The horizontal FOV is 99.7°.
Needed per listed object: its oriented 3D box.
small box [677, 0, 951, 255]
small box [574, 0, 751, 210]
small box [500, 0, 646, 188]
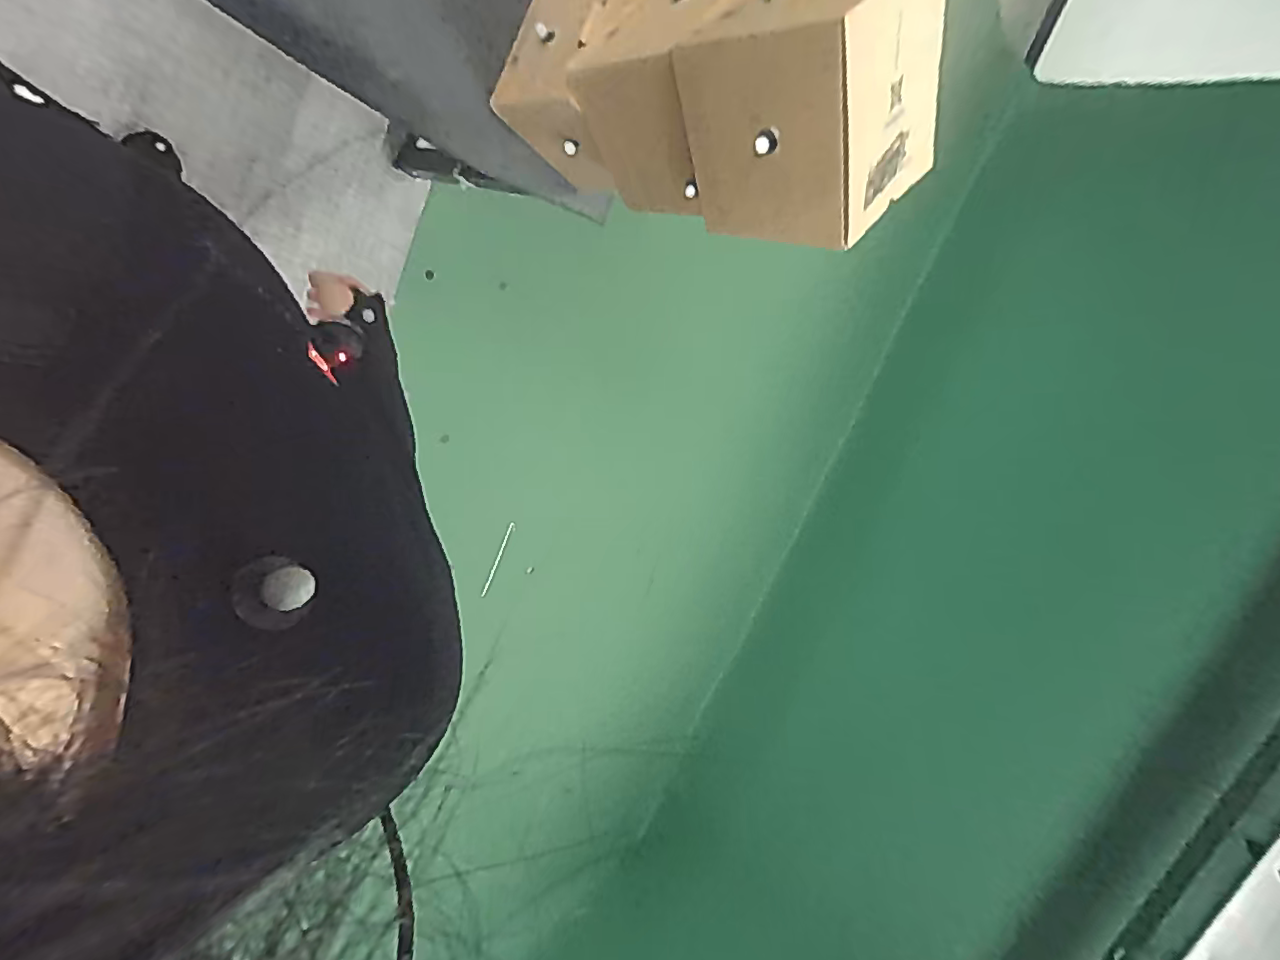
[{"bbox_3d":[0.161,-0.343,0.510,0.168,0.176,0.179,-45,139,-20],"label":"small box"},{"bbox_3d":[0.057,-0.427,0.610,0.168,0.176,0.179,-52,141,-12],"label":"small box"},{"bbox_3d":[-0.051,-0.504,0.707,0.179,0.176,0.168,20,97,-51],"label":"small box"}]
